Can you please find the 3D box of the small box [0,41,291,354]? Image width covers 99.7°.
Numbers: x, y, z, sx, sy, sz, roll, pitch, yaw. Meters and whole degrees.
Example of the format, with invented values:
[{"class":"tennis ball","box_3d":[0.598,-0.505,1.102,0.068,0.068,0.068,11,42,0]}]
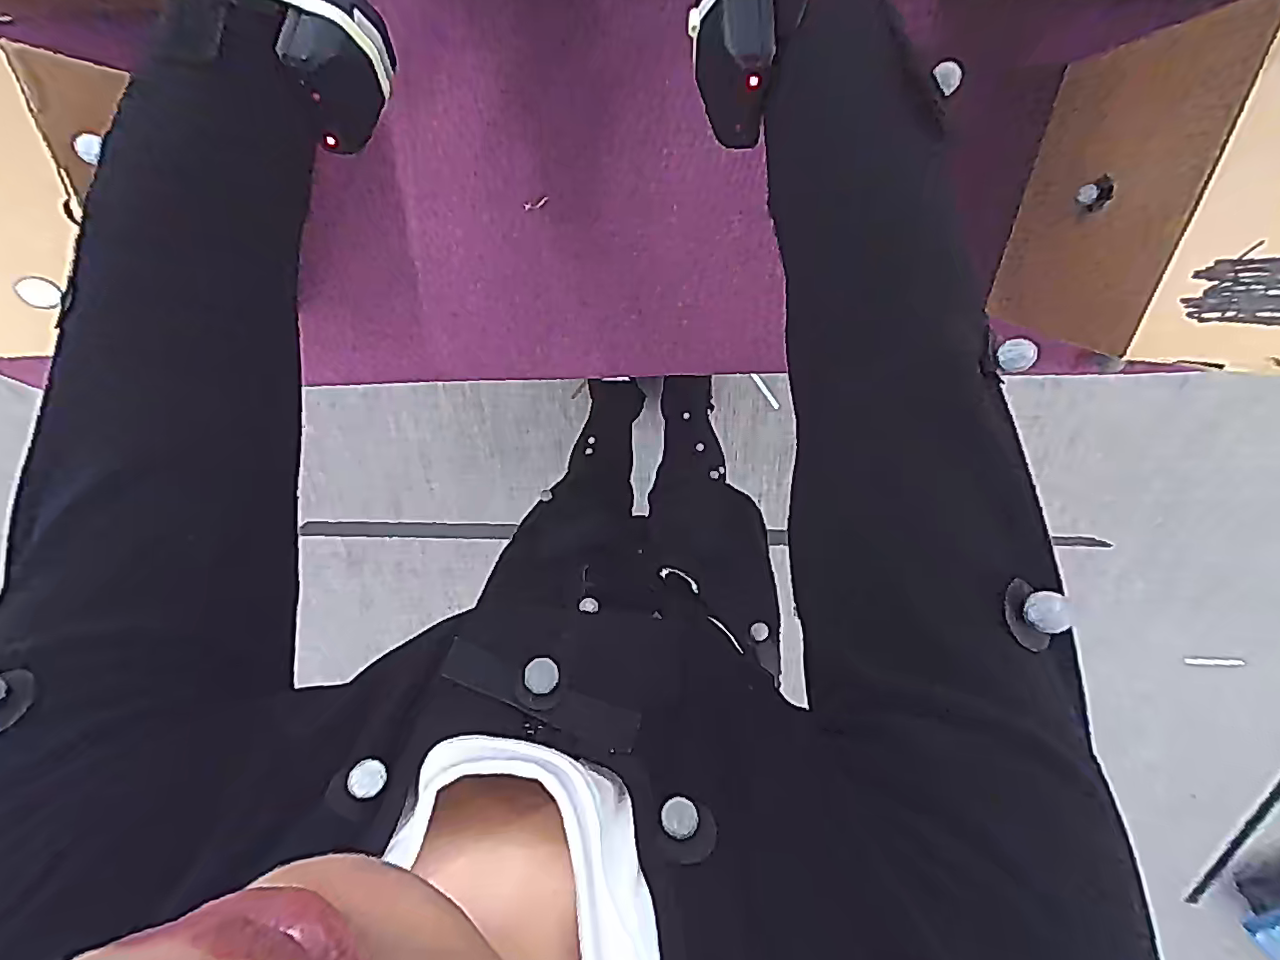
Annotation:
[{"class":"small box","box_3d":[-0.413,-0.192,0.401,0.179,0.176,0.168,-3,115,4]}]
